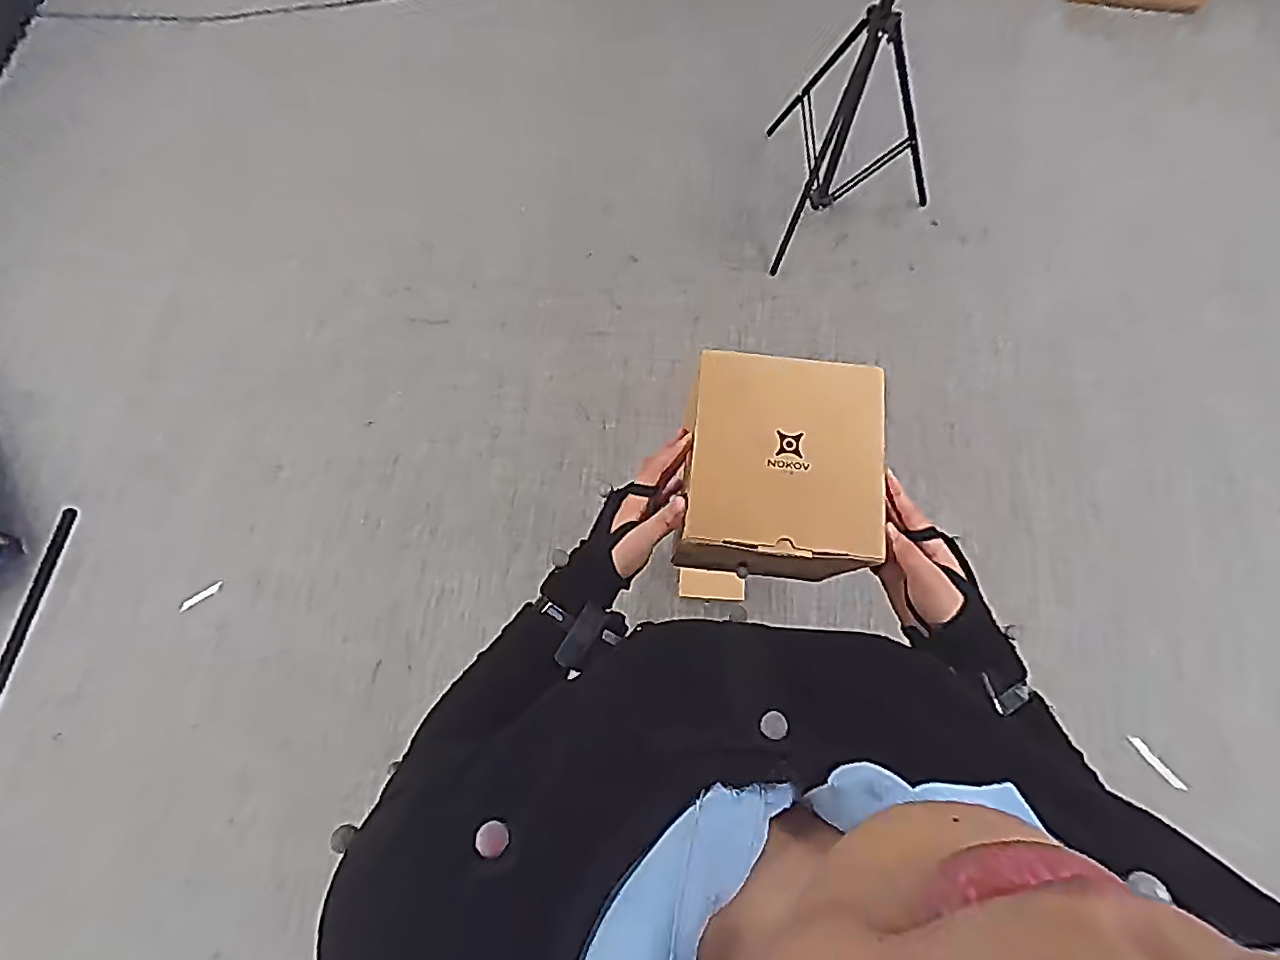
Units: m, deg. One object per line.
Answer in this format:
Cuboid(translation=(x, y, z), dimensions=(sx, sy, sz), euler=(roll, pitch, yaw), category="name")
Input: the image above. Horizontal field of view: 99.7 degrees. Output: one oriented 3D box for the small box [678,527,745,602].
Cuboid(translation=(0.188, 0.231, 1.447), dimensions=(0.168, 0.176, 0.179), euler=(3, 73, 4), category="small box")
